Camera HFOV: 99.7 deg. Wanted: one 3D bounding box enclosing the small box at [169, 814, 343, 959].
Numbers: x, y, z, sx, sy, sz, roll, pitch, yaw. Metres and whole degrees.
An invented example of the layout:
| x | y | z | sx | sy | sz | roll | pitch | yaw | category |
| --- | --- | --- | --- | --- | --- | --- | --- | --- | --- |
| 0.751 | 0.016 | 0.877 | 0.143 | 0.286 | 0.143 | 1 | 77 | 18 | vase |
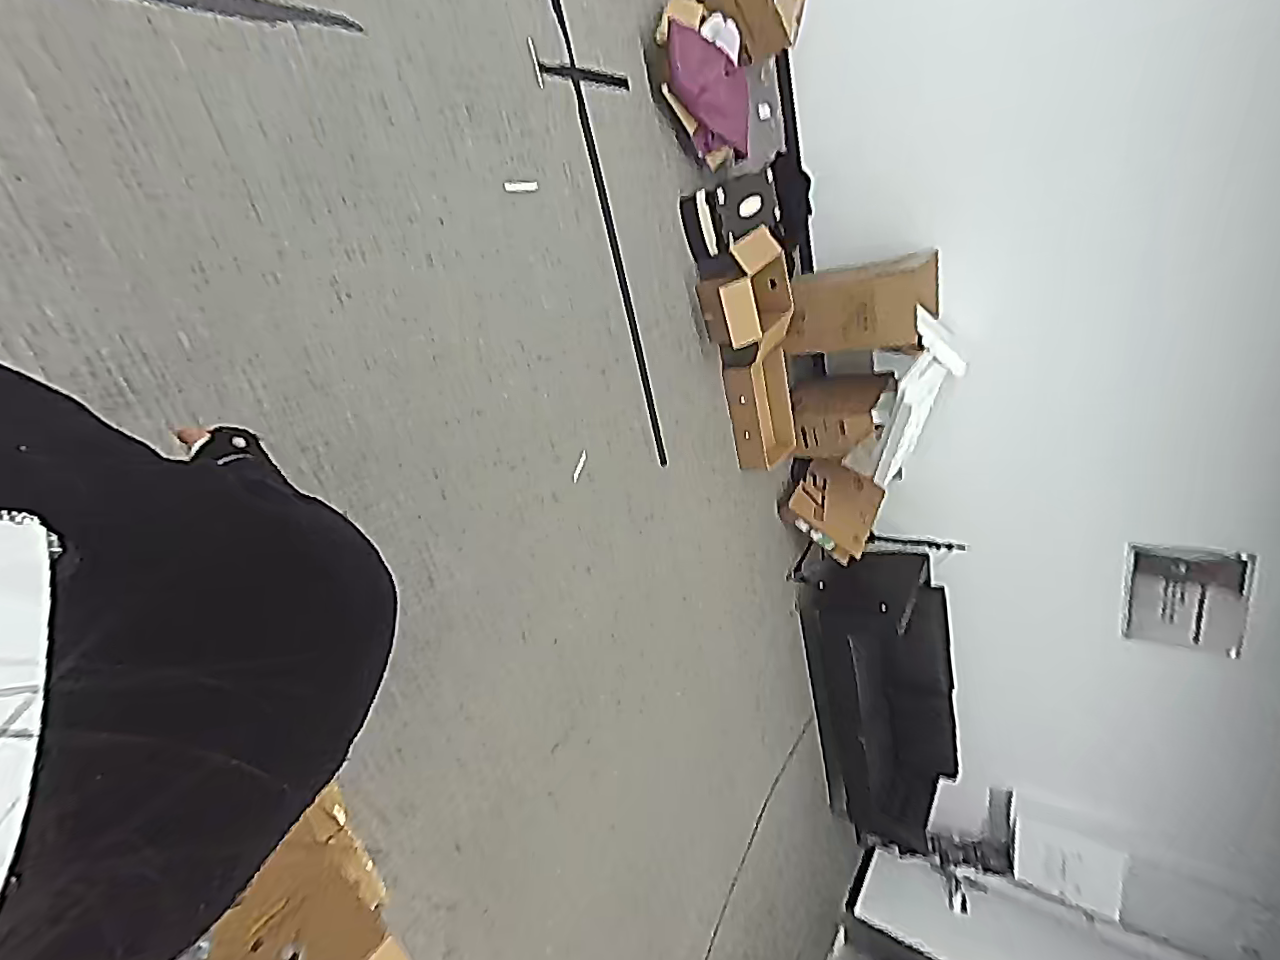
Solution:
| x | y | z | sx | sy | sz | roll | pitch | yaw | category |
| --- | --- | --- | --- | --- | --- | --- | --- | --- | --- |
| -0.501 | 0.613 | 0.747 | 0.168 | 0.176 | 0.179 | -35 | 117 | -43 | small box |

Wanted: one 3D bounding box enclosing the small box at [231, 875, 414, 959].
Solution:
| x | y | z | sx | sy | sz | roll | pitch | yaw | category |
| --- | --- | --- | --- | --- | --- | --- | --- | --- | --- |
| -0.373 | 0.620 | 0.643 | 0.168 | 0.176 | 0.179 | -36 | 118 | -43 | small box |
